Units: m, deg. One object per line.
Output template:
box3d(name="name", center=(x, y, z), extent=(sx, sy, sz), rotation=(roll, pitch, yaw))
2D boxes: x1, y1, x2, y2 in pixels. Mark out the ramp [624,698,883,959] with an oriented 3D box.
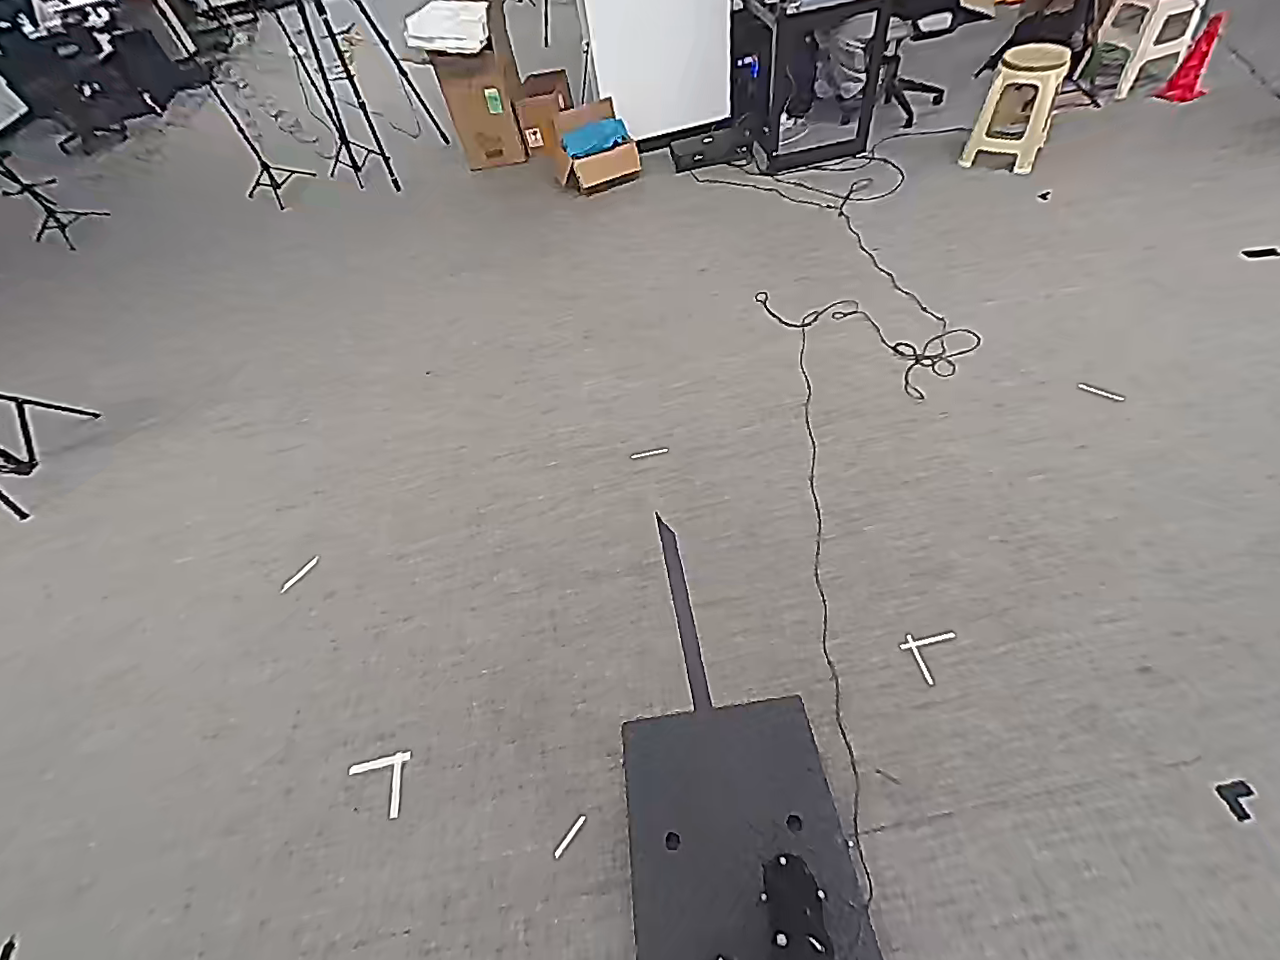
box3d(name="ramp", center=(0.233, 0.961, 1.093), extent=(0.509, 0.206, 0.991), rotation=(-12, 52, 2))
